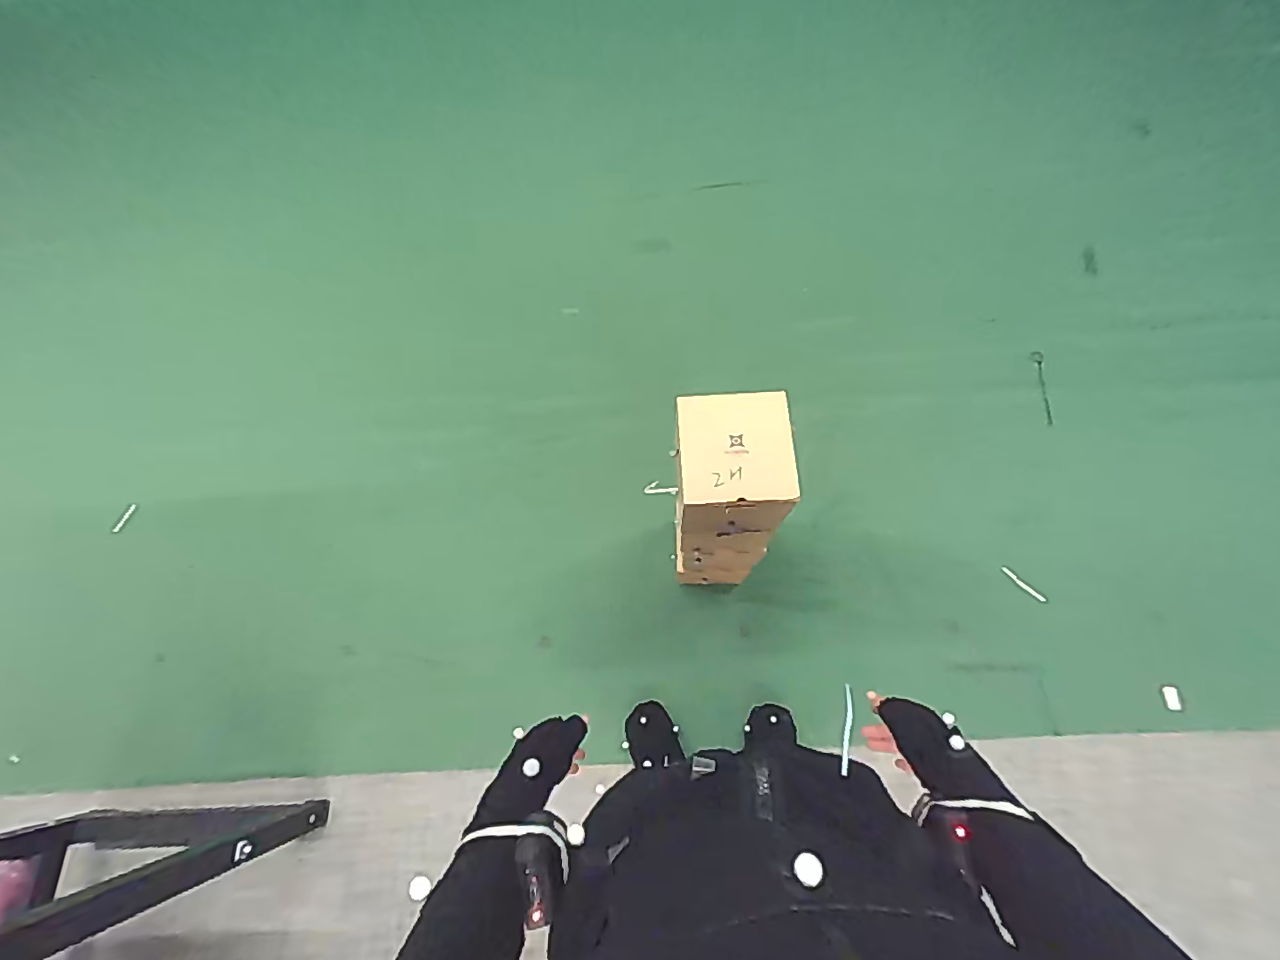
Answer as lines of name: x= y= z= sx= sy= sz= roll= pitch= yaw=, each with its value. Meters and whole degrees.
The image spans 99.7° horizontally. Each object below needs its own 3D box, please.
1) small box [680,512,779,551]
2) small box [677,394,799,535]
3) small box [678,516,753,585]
small box: x=0.160 y=0.036 z=1.022 sx=0.168 sy=0.176 sz=0.179 roll=-2 pitch=70 yaw=3
small box: x=0.146 y=-0.020 z=0.867 sx=0.168 sy=0.176 sz=0.179 roll=-3 pitch=70 yaw=3
small box: x=0.180 y=0.157 z=1.328 sx=0.168 sy=0.176 sz=0.179 roll=-1 pitch=71 yaw=3
